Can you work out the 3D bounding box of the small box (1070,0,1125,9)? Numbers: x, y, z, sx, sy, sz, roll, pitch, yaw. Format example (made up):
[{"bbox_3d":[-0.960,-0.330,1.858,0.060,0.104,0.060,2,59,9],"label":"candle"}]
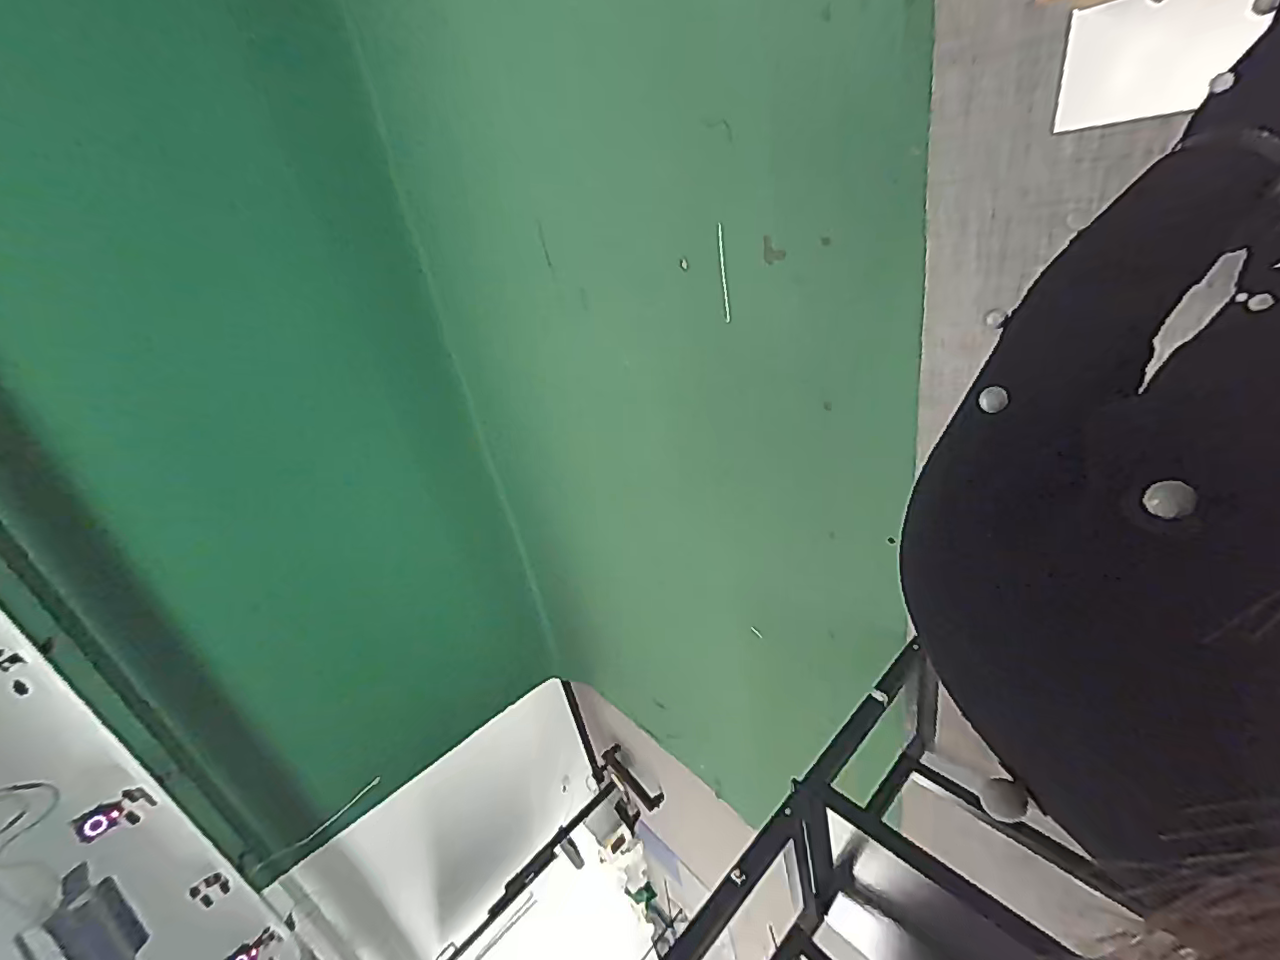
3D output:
[{"bbox_3d":[0.470,-0.539,0.458,0.168,0.176,0.179,20,131,44],"label":"small box"}]
